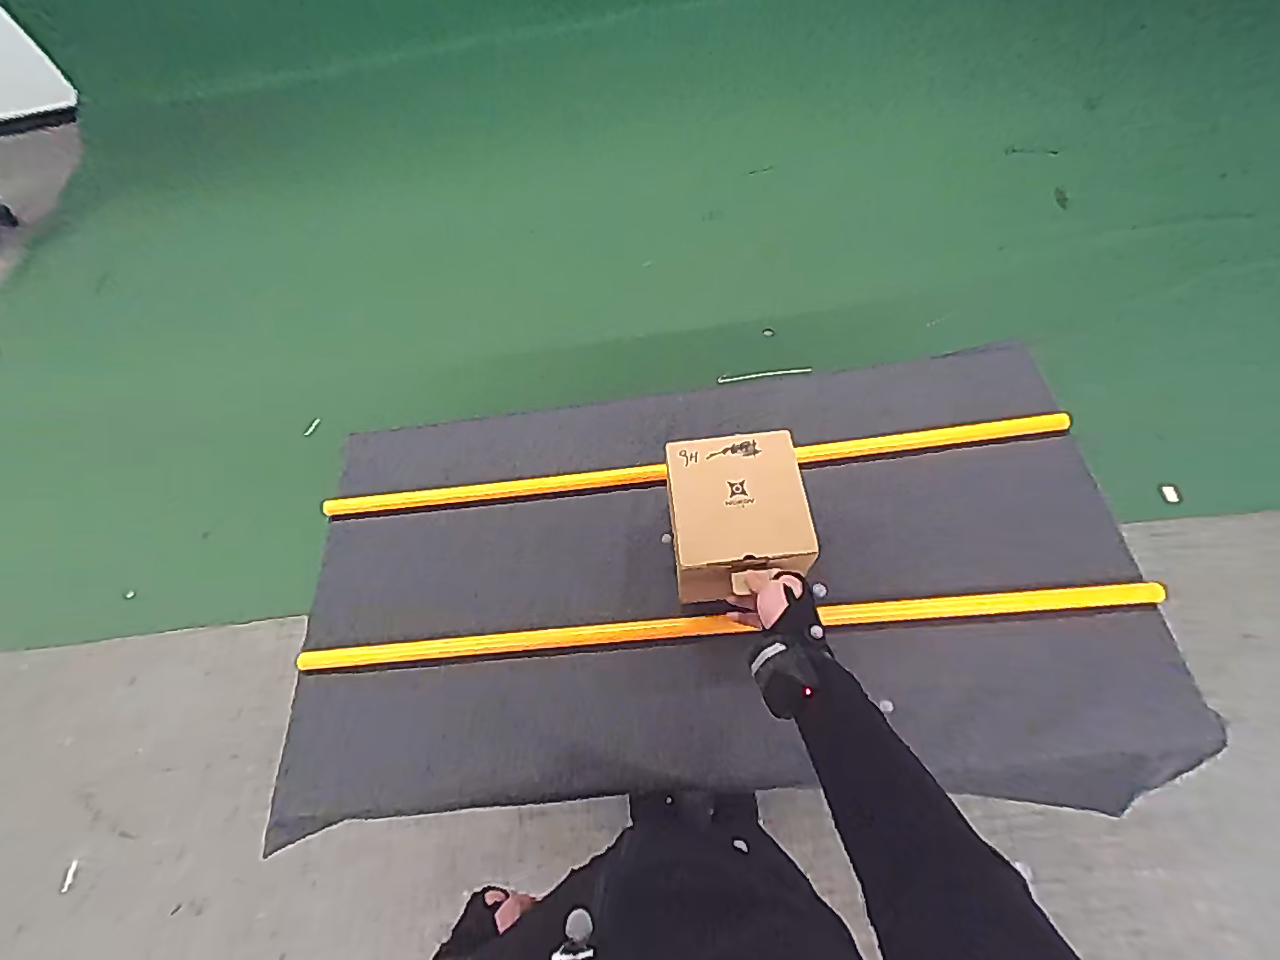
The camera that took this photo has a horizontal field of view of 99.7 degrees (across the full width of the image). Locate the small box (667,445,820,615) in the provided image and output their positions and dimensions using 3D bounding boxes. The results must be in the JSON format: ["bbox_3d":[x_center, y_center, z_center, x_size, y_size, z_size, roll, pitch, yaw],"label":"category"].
[{"bbox_3d":[0.136,0.079,0.751,0.168,0.176,0.179,-10,60,2],"label":"small box"}]
